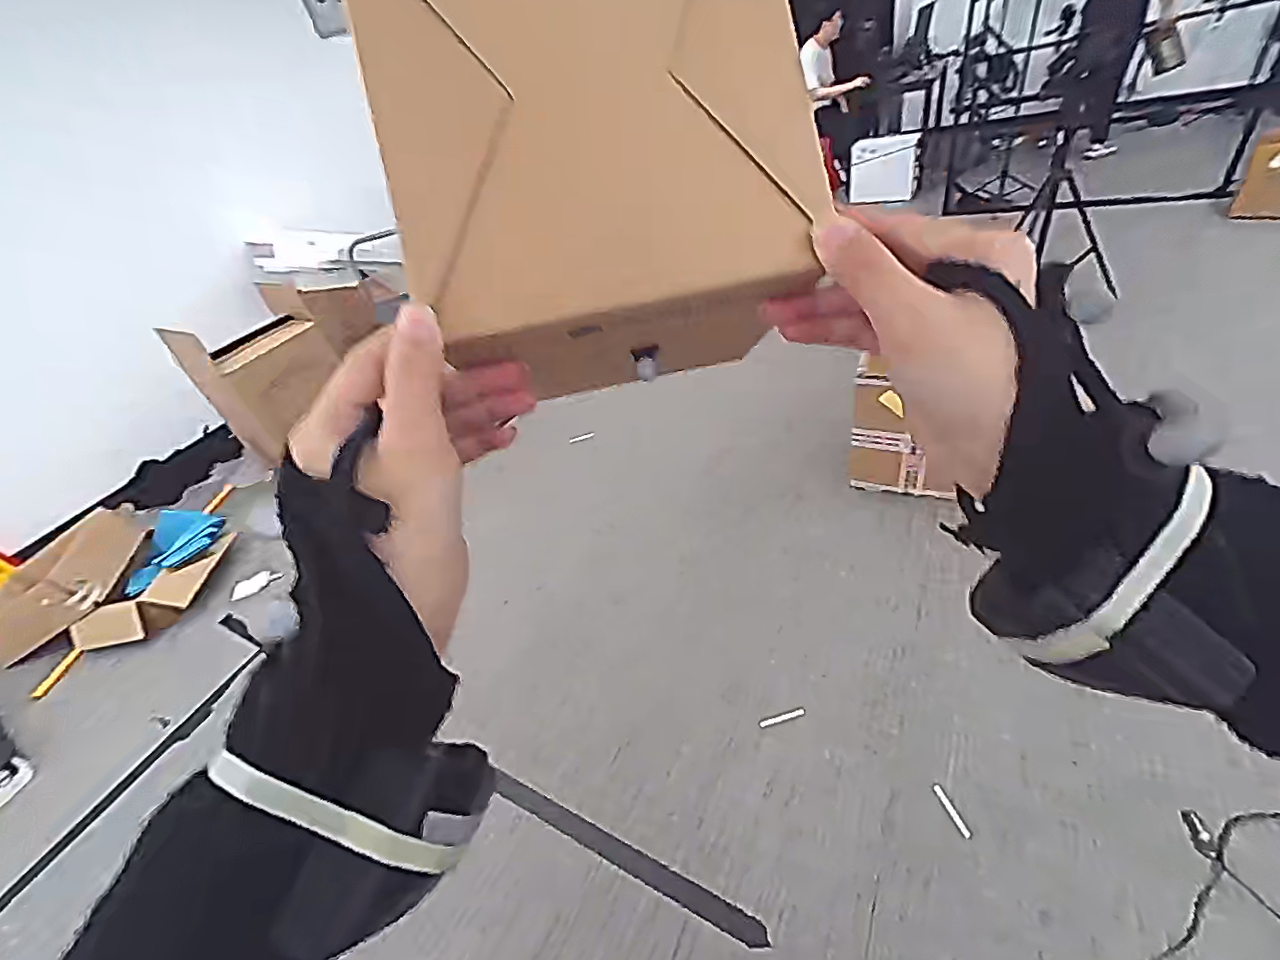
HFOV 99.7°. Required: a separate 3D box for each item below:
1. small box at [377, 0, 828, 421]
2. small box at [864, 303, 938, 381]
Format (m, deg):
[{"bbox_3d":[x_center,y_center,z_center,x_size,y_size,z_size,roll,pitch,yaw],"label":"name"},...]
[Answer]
[{"bbox_3d":[-0.017,-0.143,0.295,0.168,0.179,0.176,-13,0,-3],"label":"small box"},{"bbox_3d":[0.775,-0.414,1.610,0.179,0.176,0.168,7,47,26],"label":"small box"}]
